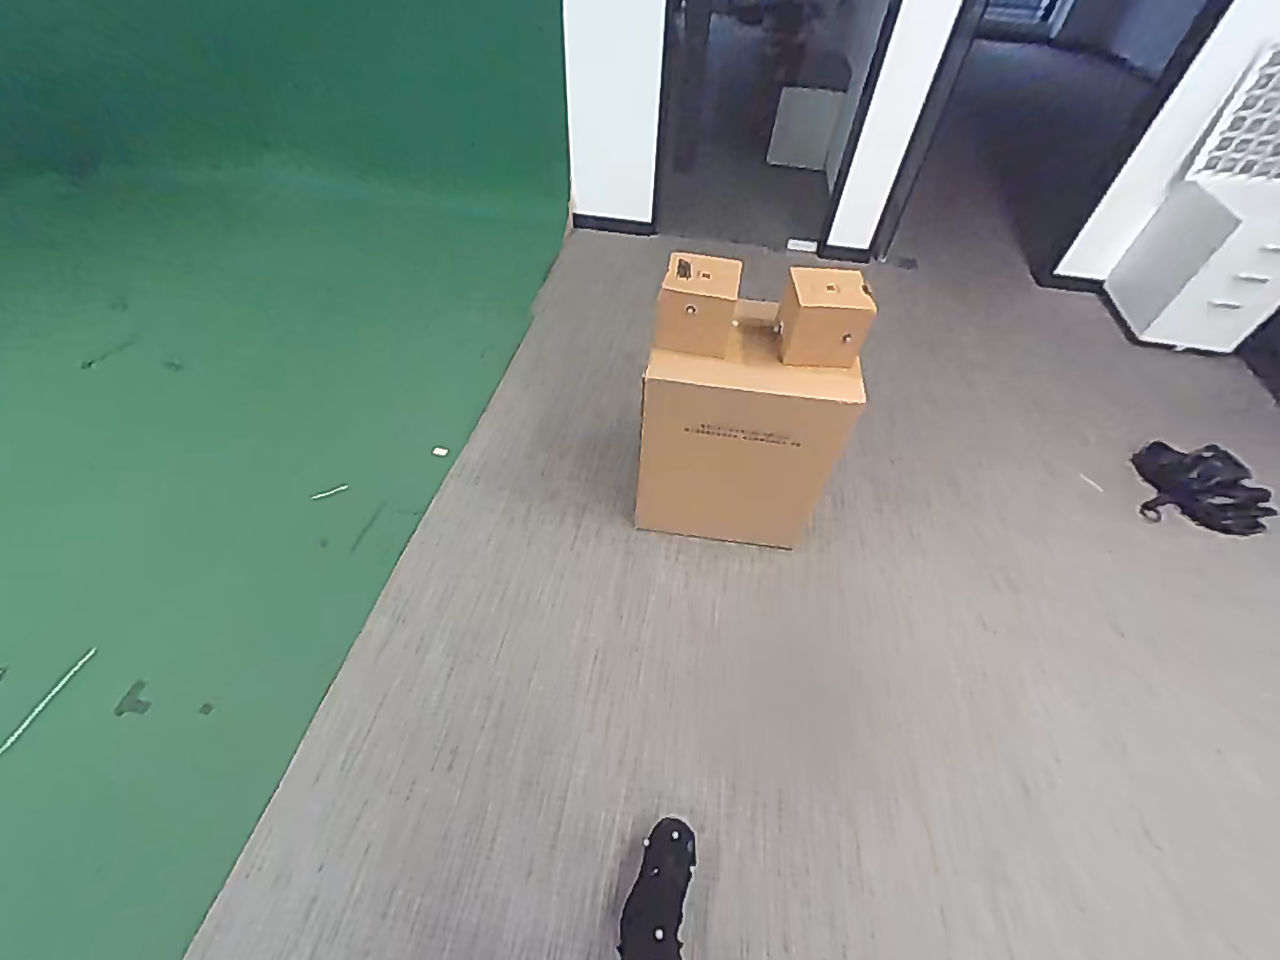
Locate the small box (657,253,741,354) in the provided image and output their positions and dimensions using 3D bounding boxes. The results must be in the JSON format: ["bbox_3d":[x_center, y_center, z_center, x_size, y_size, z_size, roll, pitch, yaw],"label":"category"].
[{"bbox_3d":[0.142,-0.432,1.334,0.179,0.176,0.168,10,53,5],"label":"small box"}]

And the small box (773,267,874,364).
[{"bbox_3d":[0.439,-0.398,1.322,0.179,0.176,0.168,1,51,0],"label":"small box"}]
